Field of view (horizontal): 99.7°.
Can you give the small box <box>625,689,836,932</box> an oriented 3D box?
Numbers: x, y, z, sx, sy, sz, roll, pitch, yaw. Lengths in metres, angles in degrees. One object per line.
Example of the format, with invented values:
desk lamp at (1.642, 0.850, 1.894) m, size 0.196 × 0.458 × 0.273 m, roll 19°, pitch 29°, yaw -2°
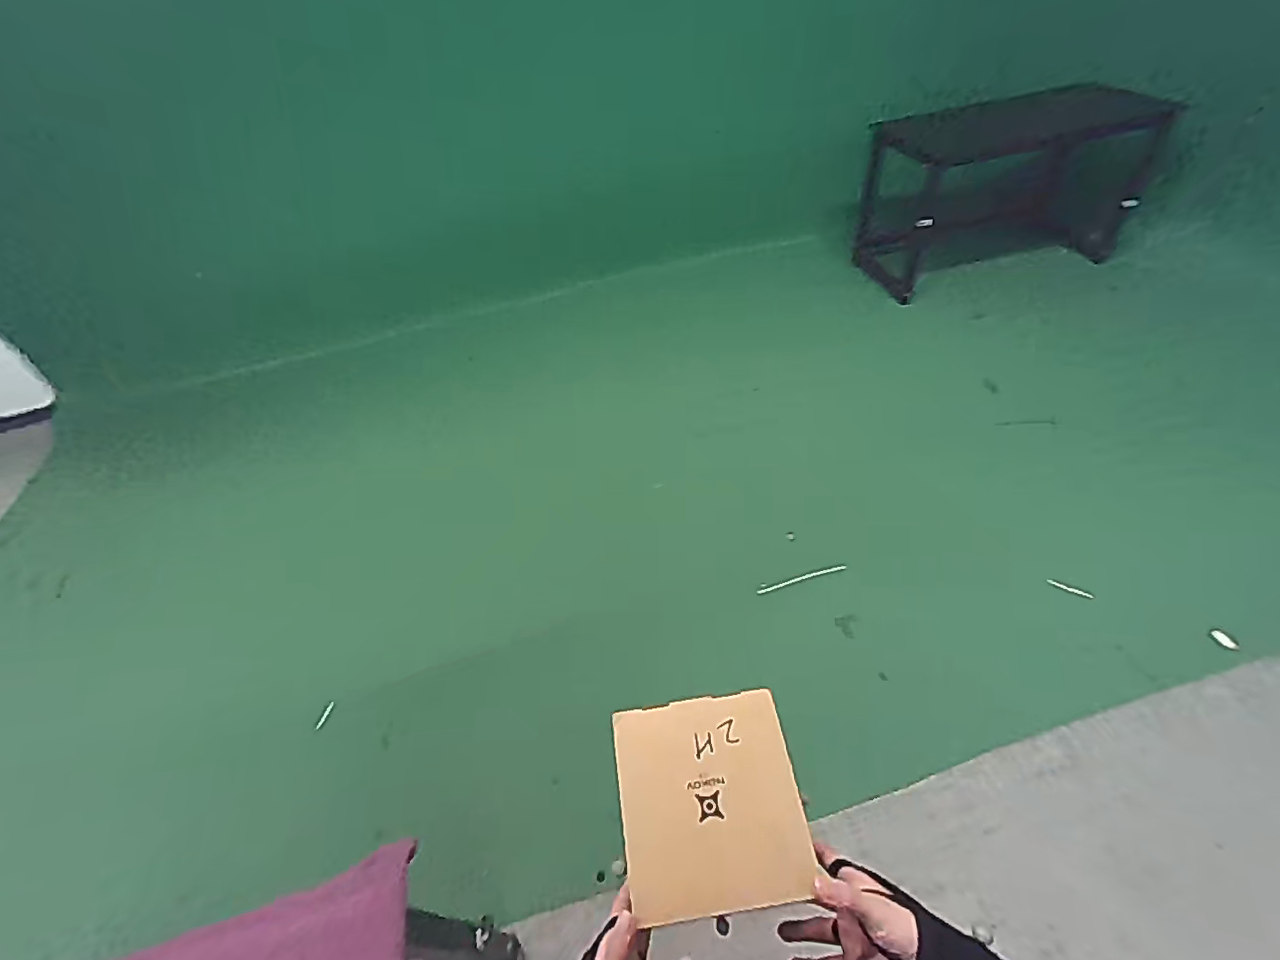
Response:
small box at (0.079, 0.335, 0.553) m, size 0.168 × 0.176 × 0.179 m, roll -7°, pitch 52°, yaw -1°
